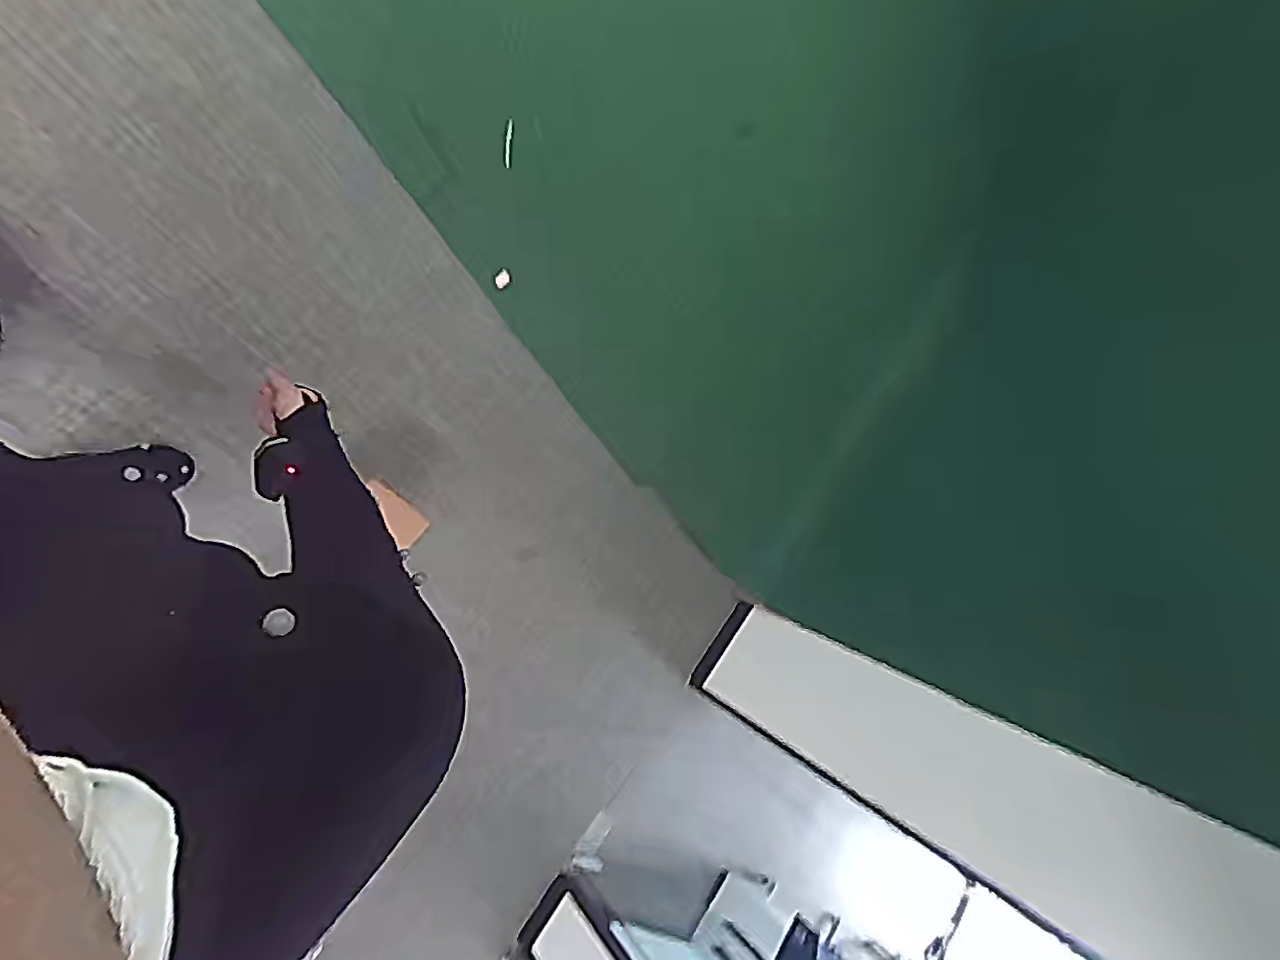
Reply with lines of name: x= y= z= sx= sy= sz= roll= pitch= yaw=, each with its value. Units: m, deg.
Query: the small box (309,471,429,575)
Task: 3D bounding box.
small box: x=-0.646 y=0.094 z=1.283 sx=0.168 sy=0.176 sz=0.179 roll=-53 pitch=129 yaw=-16
